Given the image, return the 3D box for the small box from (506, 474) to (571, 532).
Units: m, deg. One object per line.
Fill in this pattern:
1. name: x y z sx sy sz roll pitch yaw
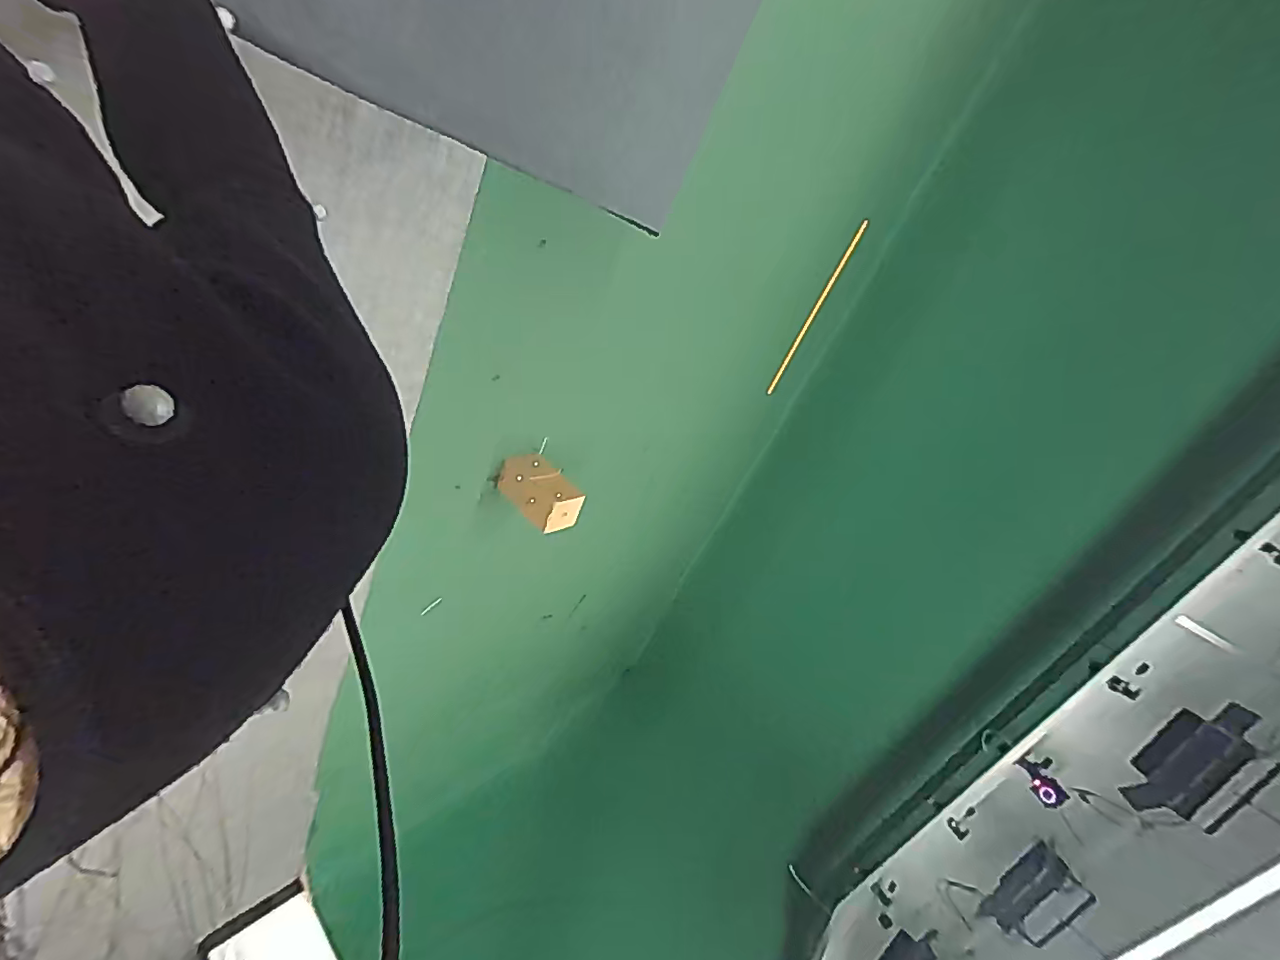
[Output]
1. small box: -0.431 0.091 2.280 0.179 0.176 0.168 -14 137 -51
